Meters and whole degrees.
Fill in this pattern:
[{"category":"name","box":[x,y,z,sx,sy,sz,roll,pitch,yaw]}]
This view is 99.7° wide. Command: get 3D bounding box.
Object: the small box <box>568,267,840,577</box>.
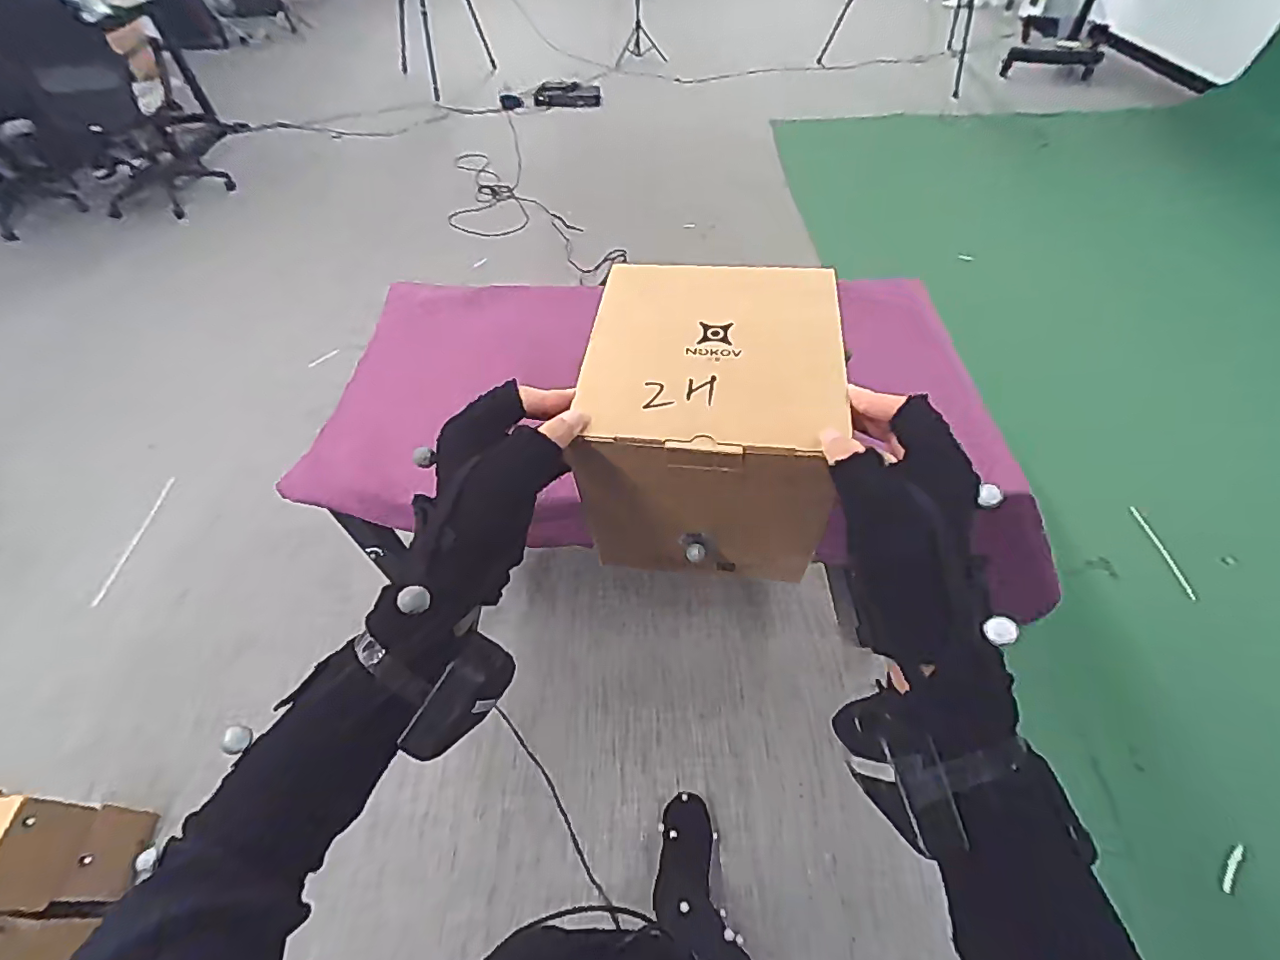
[{"category":"small box","box":[0.053,-0.044,0.432,0.168,0.176,0.179,4,54,8]}]
